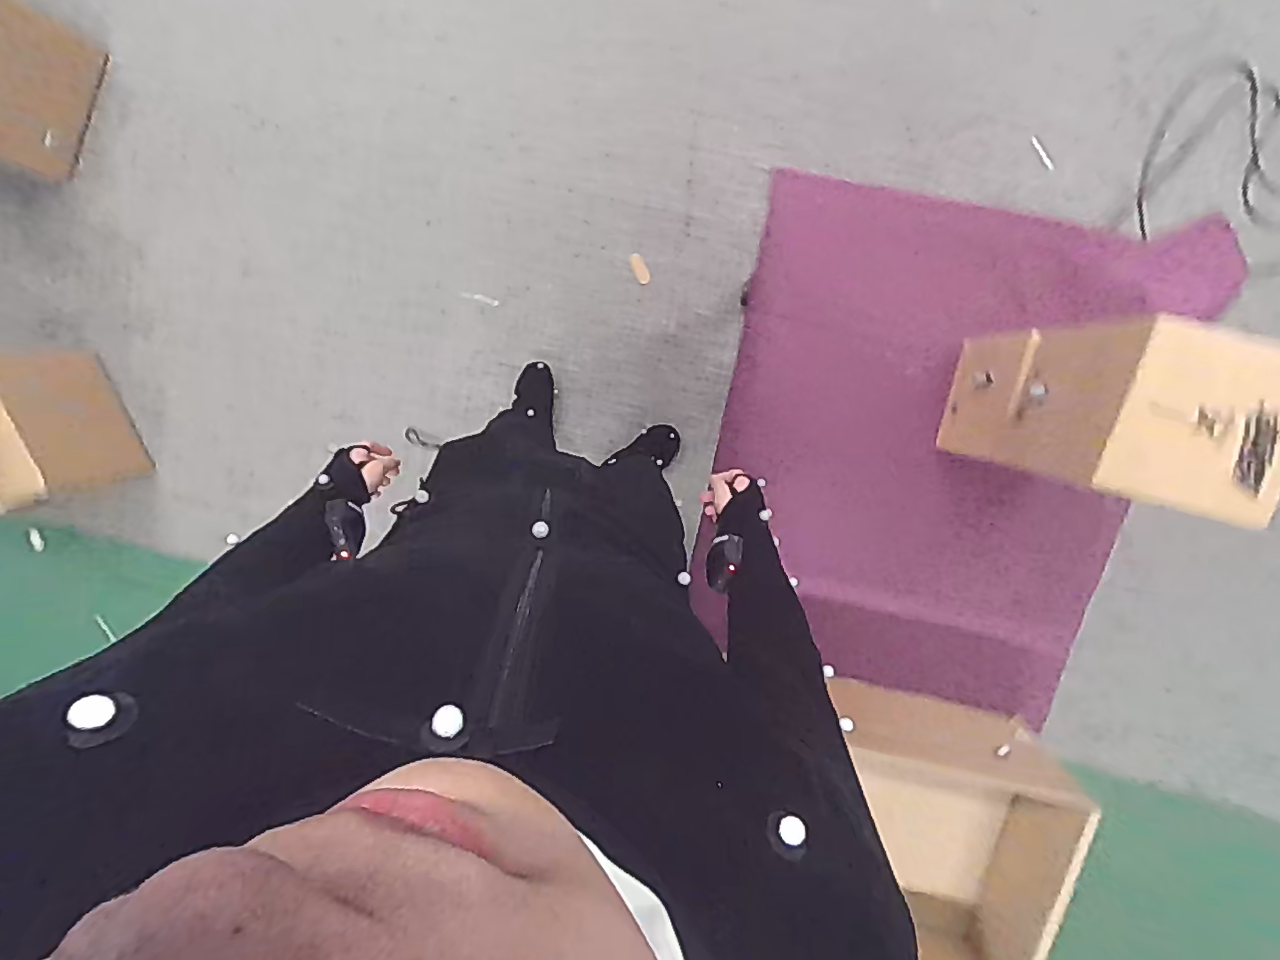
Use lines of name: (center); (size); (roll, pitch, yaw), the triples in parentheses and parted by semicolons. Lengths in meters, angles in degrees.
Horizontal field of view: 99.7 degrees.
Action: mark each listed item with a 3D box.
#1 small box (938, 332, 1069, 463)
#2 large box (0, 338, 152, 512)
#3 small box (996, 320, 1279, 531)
small box: (0.551, -0.099, 0.747); (0.179, 0.176, 0.168); (11, 100, 1)
large box: (-1.749, -0.154, 1.543); (0.320, 0.320, 0.408); (-19, 99, 8)
small box: (0.543, -0.063, 0.587); (0.179, 0.176, 0.168); (15, 100, 1)
